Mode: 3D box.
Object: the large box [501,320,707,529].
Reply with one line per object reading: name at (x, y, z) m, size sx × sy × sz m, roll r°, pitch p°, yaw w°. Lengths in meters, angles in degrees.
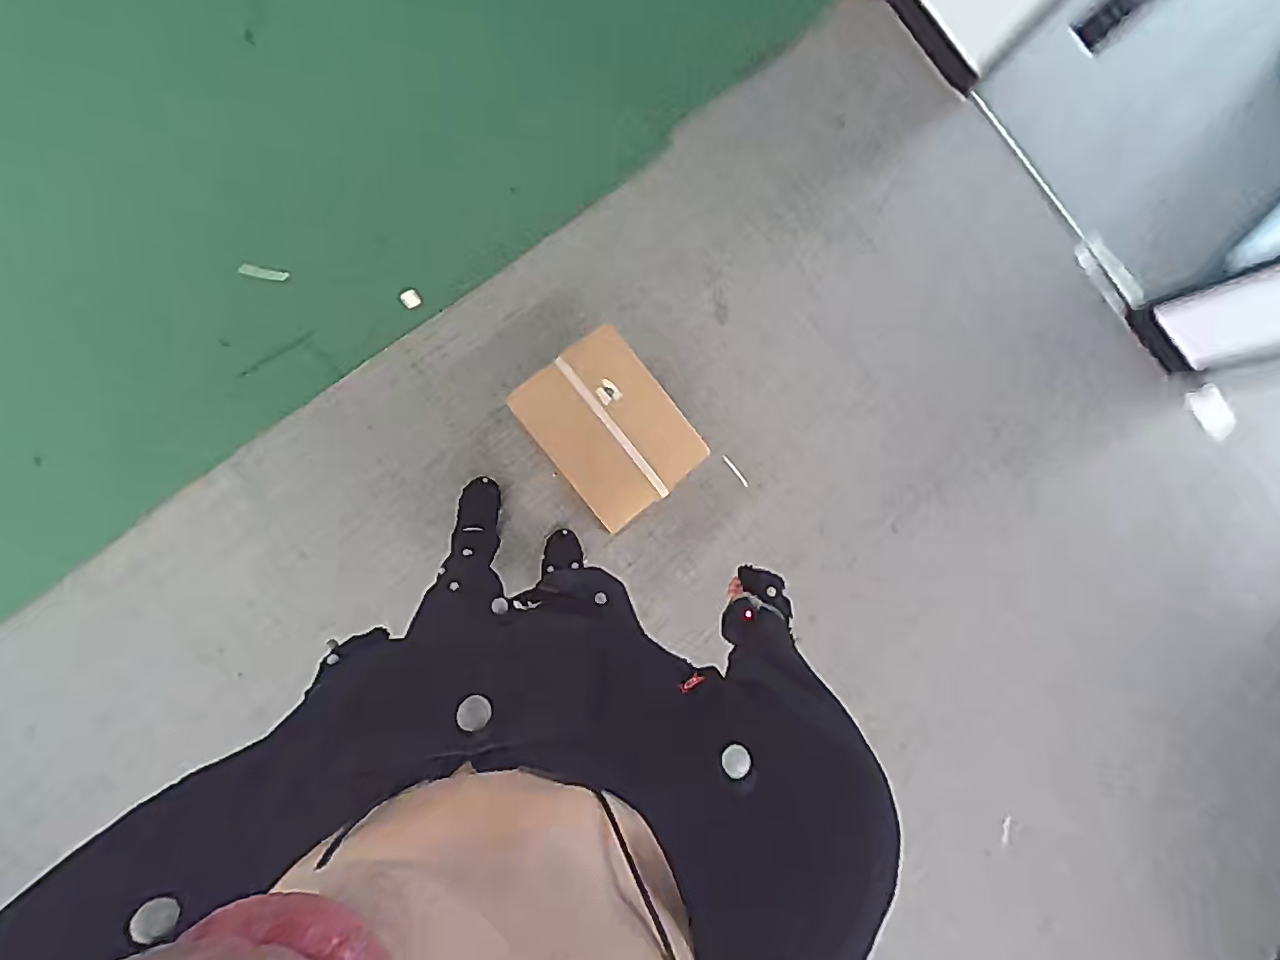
large box at (-0.097, -0.123, 1.401) m, size 0.320 × 0.320 × 0.408 m, roll -38°, pitch 93°, yaw -10°
